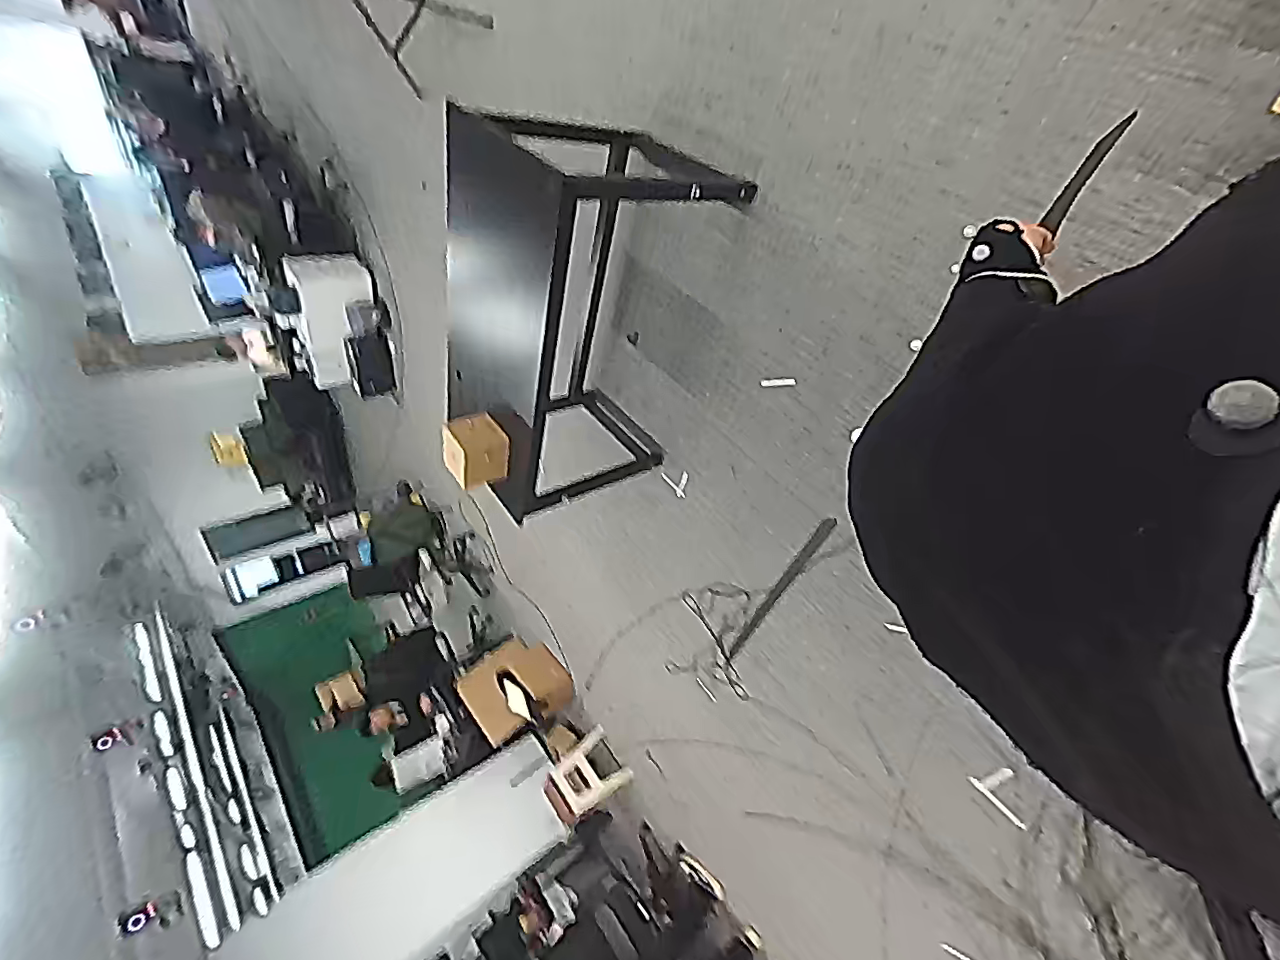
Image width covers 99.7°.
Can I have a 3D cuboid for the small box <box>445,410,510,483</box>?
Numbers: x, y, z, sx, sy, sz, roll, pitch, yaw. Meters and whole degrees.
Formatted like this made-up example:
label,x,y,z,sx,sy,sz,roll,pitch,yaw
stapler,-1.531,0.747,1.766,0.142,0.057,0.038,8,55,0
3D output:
label,x,y,z,sx,sy,sz,roll,pitch,yaw
small box,-0.569,-0.124,1.902,0.168,0.176,0.179,45,139,31
